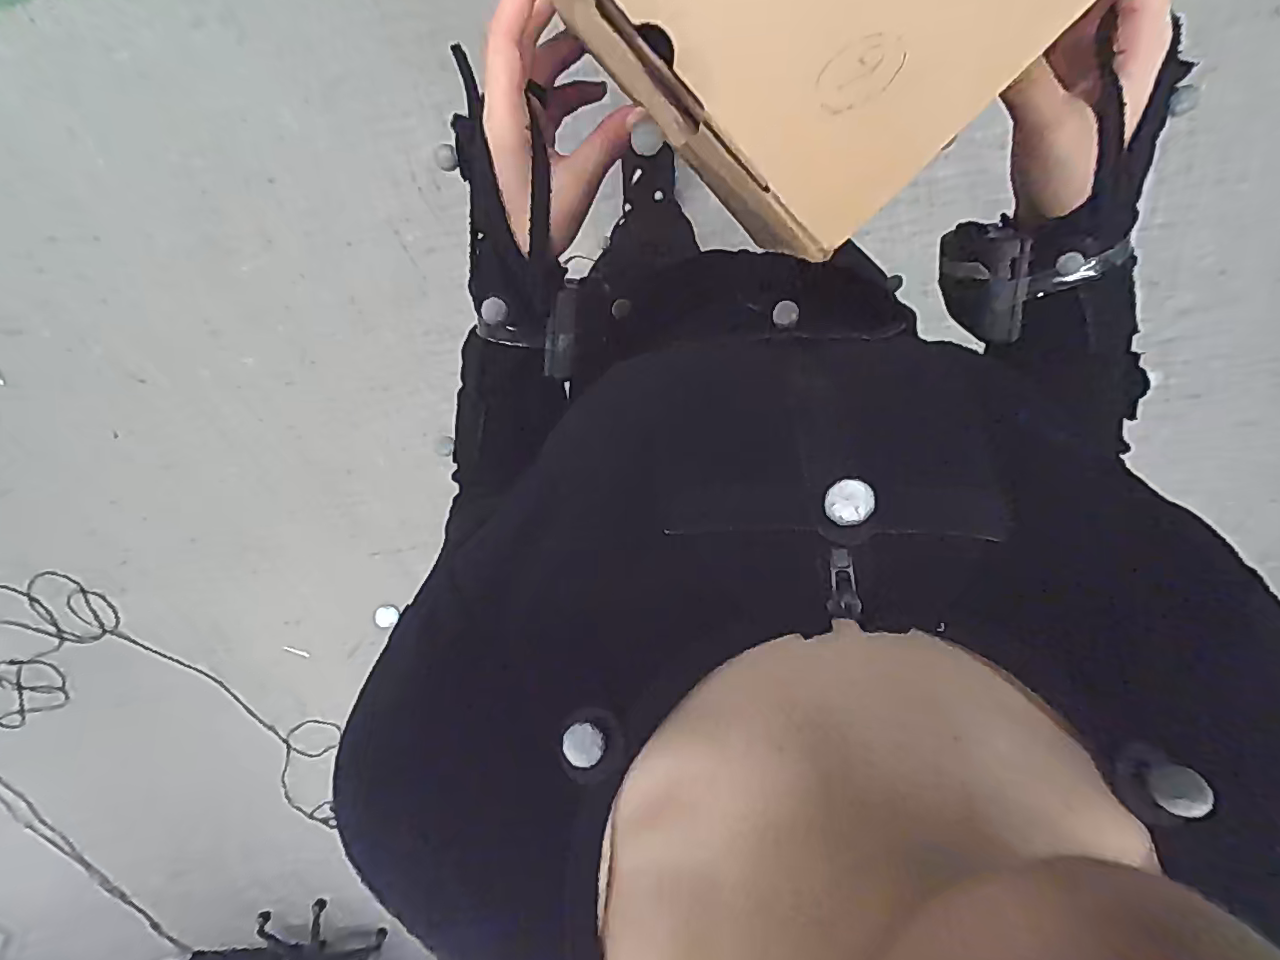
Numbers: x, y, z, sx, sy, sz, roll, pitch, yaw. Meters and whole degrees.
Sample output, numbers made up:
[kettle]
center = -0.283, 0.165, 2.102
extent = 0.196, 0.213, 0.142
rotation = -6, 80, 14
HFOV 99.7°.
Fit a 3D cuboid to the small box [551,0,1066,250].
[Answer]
[small box]
center = 0.068, -0.219, 0.219
extent = 0.168, 0.176, 0.179
rotation = 42, 111, -13
